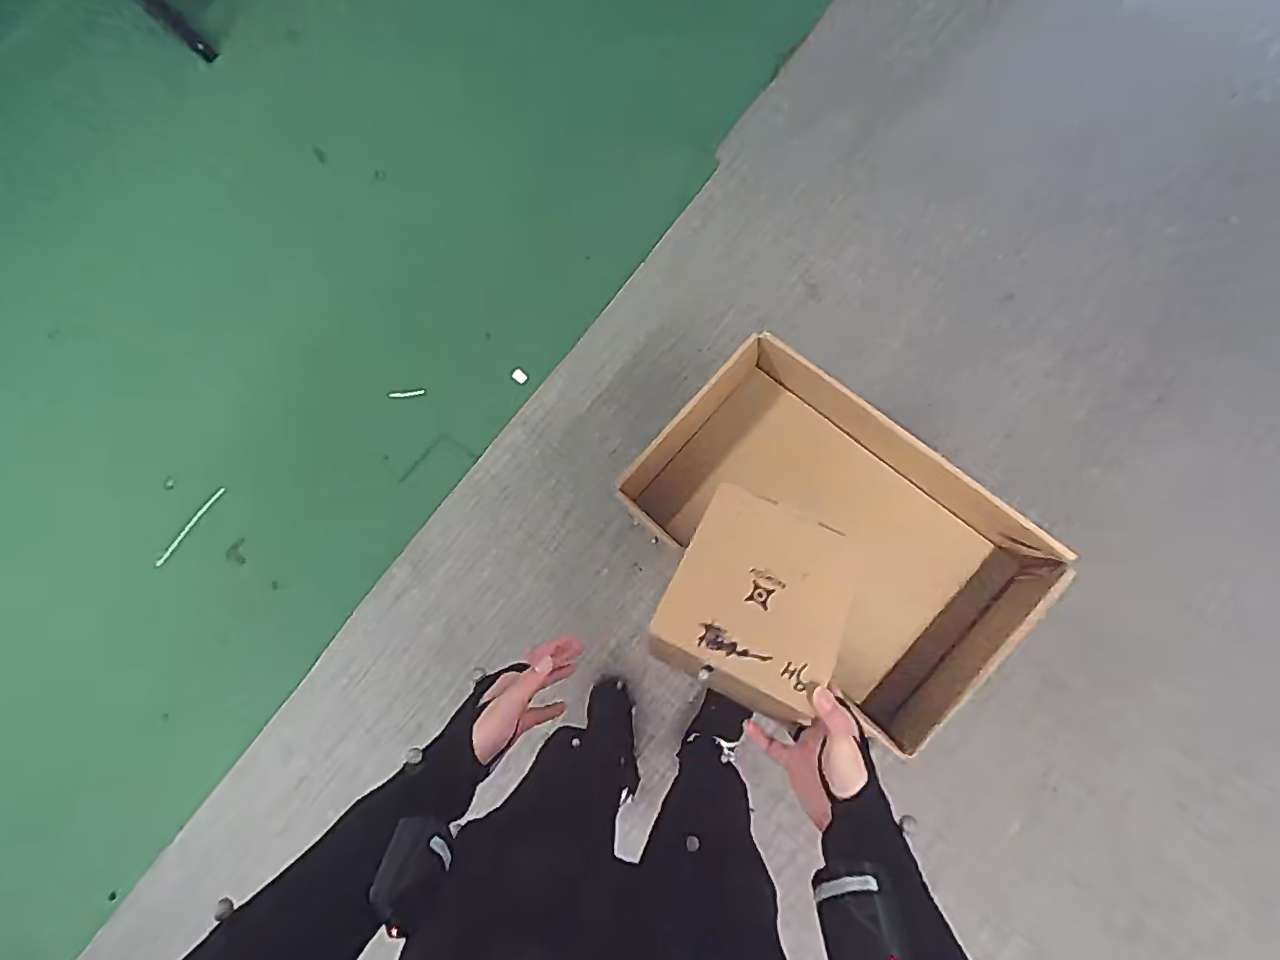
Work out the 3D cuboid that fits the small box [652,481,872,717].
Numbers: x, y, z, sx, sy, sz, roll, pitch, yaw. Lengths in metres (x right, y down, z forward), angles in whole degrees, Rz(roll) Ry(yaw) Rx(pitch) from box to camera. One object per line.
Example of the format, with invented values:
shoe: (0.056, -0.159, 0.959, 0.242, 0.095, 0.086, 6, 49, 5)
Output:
small box: (0.120, 0.137, 0.592, 0.168, 0.176, 0.179, 26, 67, 12)
